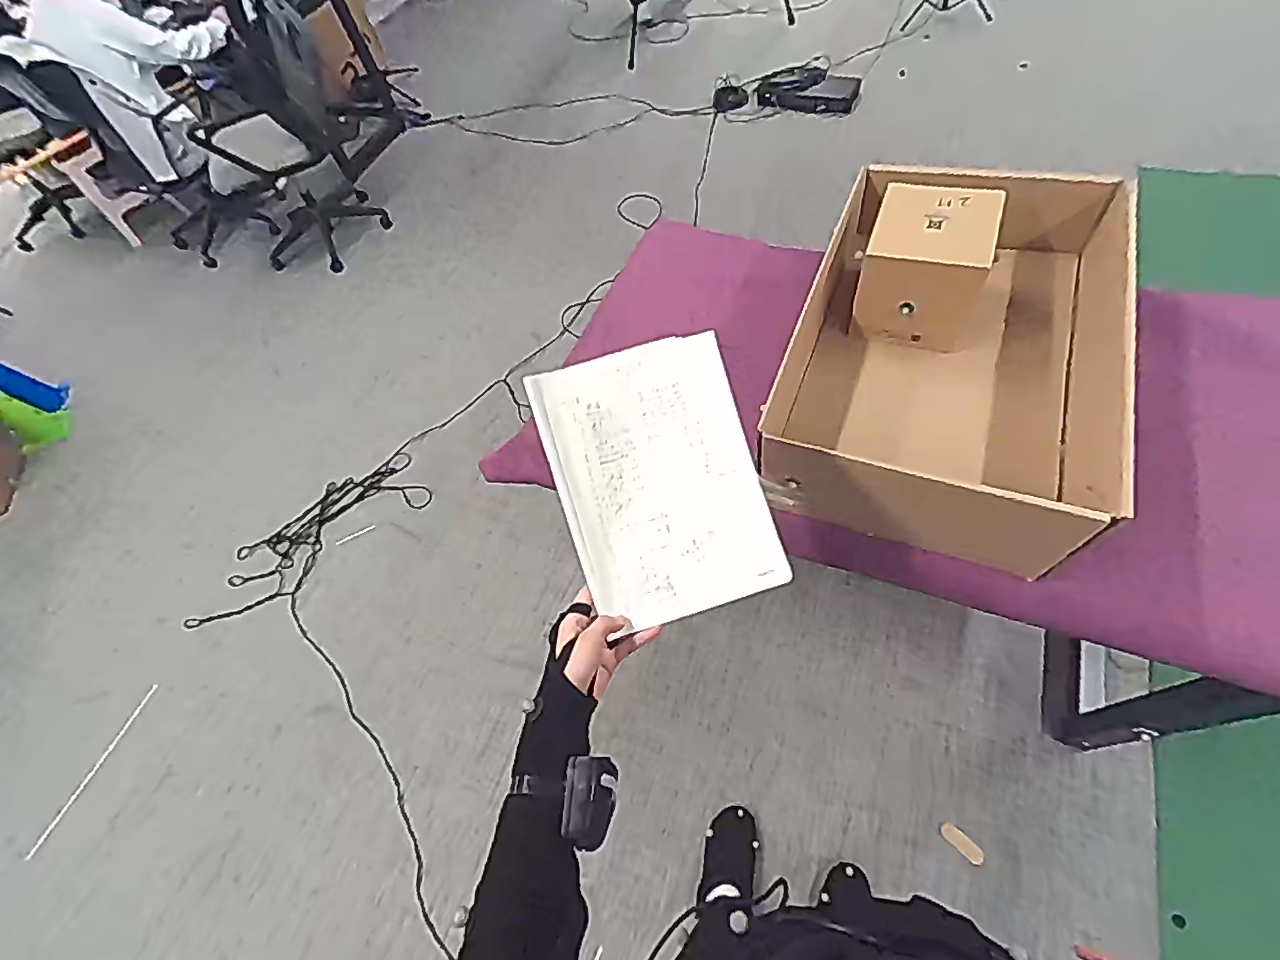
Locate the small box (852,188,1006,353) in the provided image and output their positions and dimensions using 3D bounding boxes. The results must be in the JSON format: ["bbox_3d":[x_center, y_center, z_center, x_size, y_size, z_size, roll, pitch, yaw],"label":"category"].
[{"bbox_3d":[0.447,-0.329,0.859,0.168,0.176,0.179,17,64,20],"label":"small box"}]
